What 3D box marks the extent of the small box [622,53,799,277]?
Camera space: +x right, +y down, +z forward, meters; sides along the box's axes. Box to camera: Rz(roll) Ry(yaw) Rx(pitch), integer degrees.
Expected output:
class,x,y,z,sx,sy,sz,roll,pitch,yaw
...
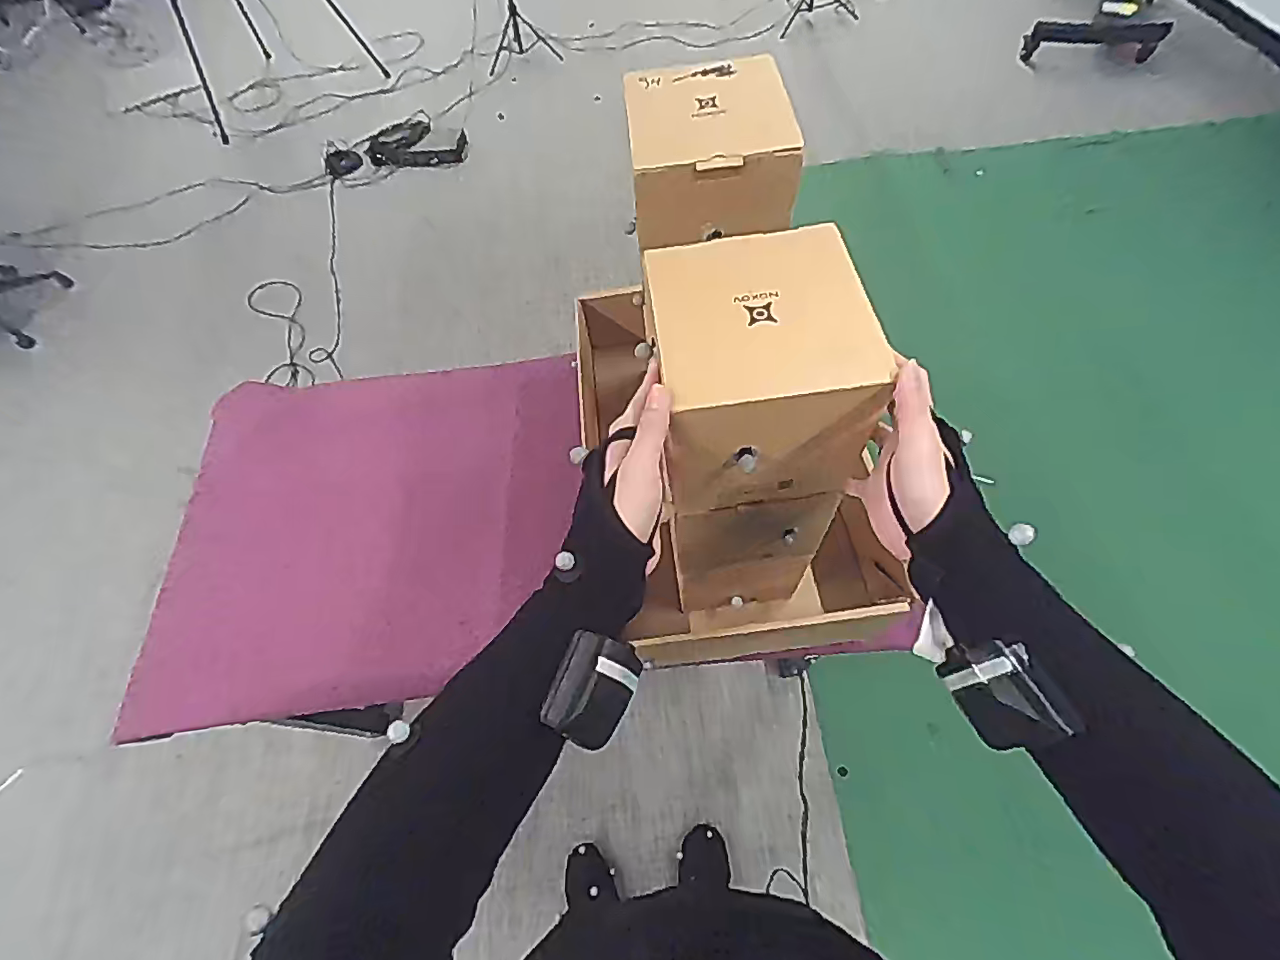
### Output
class,x,y,z,sx,sy,sz,roll,pitch,yaw
small box,0.073,-0.341,0.622,0.168,0.176,0.179,-6,63,2

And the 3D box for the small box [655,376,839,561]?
class,x,y,z,sx,sy,sz,roll,pitch,yaw
small box,0.112,-0.015,0.627,0.168,0.176,0.179,-7,60,2

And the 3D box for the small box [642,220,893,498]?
class,x,y,z,sx,sy,sz,roll,pitch,yaw
small box,0.098,-0.096,0.488,0.168,0.176,0.179,-8,60,2
